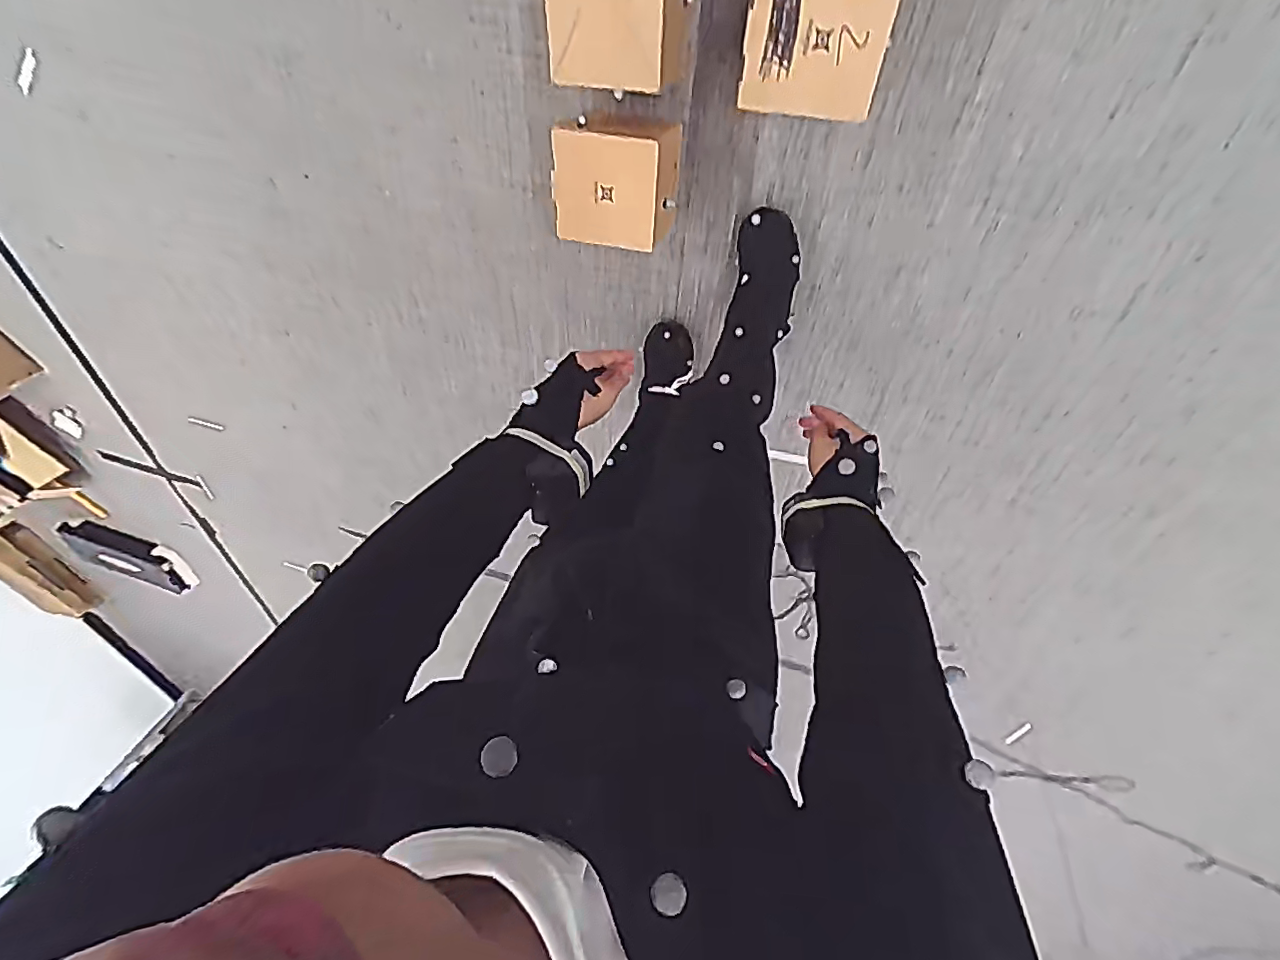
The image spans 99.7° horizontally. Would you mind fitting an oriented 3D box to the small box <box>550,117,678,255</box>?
[{"bbox_3d":[-0.039,-0.512,0.935,0.179,0.176,0.168,14,134,10],"label":"small box"}]
